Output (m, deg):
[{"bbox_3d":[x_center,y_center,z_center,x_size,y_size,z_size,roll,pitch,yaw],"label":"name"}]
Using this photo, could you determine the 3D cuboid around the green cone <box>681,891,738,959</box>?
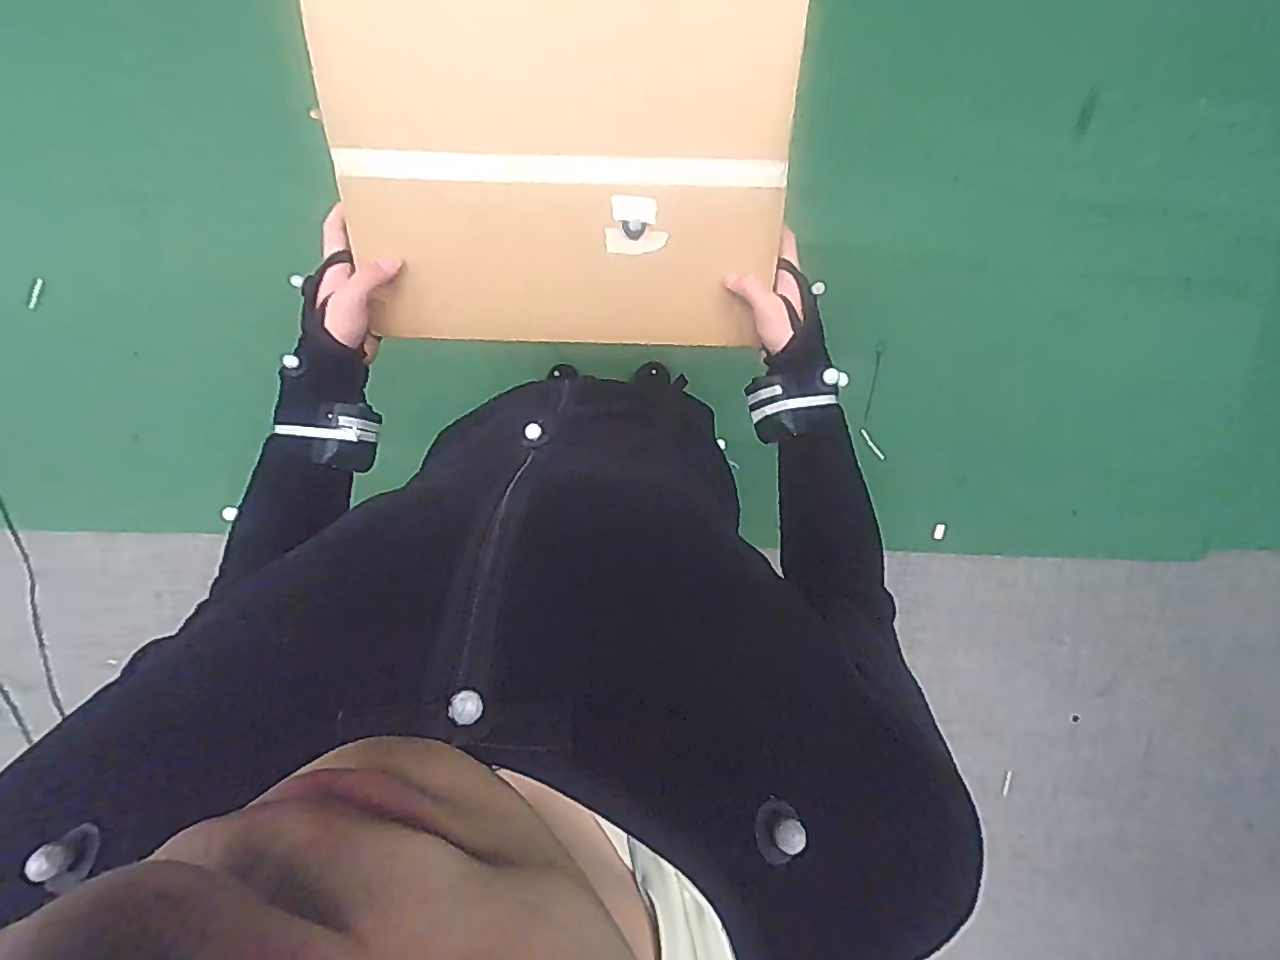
[{"bbox_3d":[0.272,1.685,1.884,0.200,0.368,0.202,7,102,-4],"label":"green cone"}]

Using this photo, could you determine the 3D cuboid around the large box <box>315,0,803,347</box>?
[{"bbox_3d":[-0.069,-0.346,0.628,0.408,0.320,0.320,0,118,-1],"label":"large box"}]
